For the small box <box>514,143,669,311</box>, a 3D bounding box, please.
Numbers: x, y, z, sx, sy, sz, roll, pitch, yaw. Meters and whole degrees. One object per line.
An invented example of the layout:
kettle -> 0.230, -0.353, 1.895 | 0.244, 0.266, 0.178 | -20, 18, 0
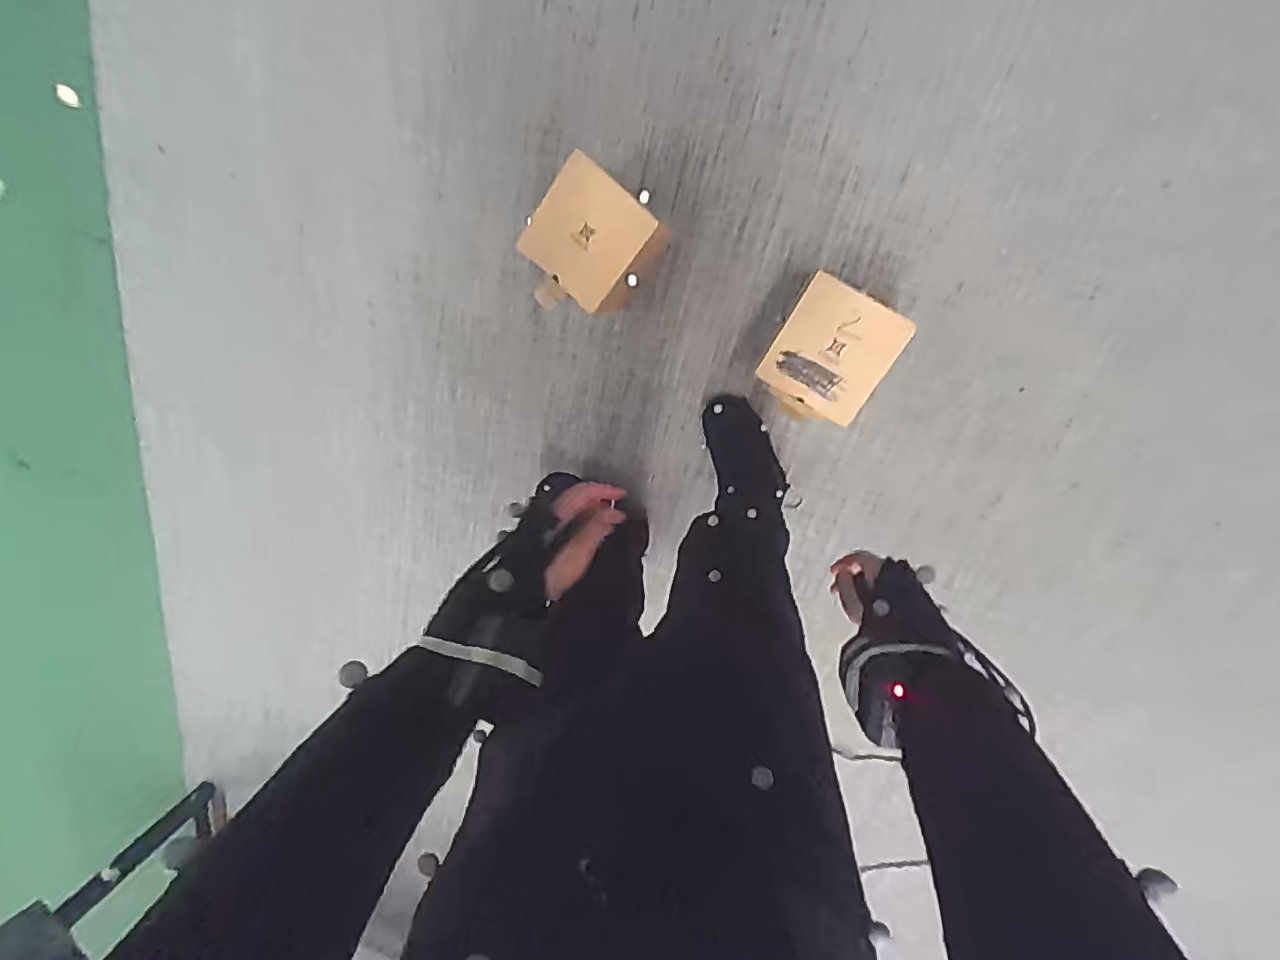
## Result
small box -> -0.068, -0.404, 0.888 | 0.168, 0.176, 0.179 | 41, 114, -3
